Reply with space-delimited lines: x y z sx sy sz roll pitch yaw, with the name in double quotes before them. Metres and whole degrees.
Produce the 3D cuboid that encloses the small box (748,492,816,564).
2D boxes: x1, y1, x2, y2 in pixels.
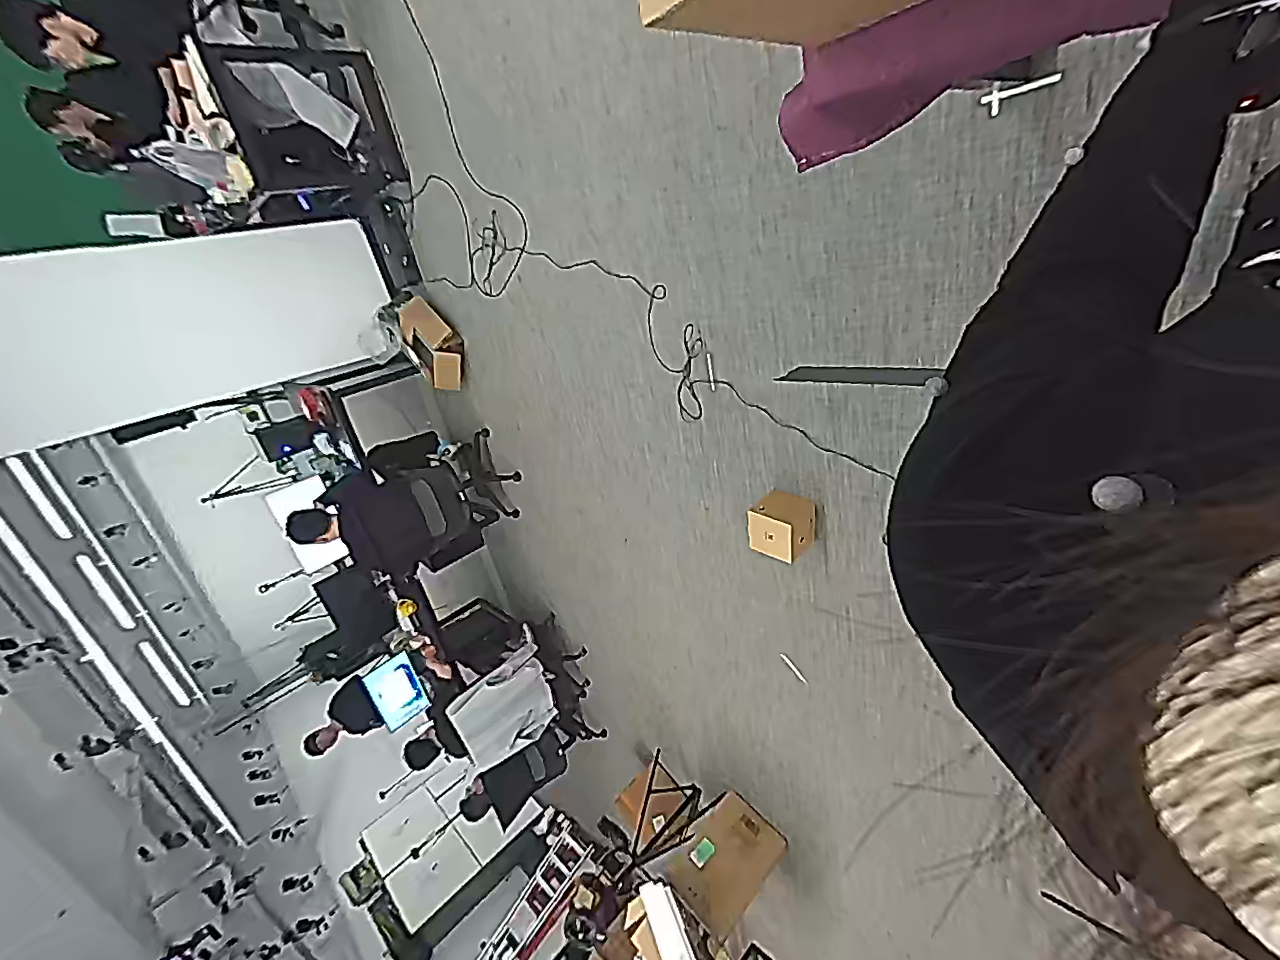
"small box" 0.507 0.163 1.918 0.179 0.176 0.168 20 130 42
